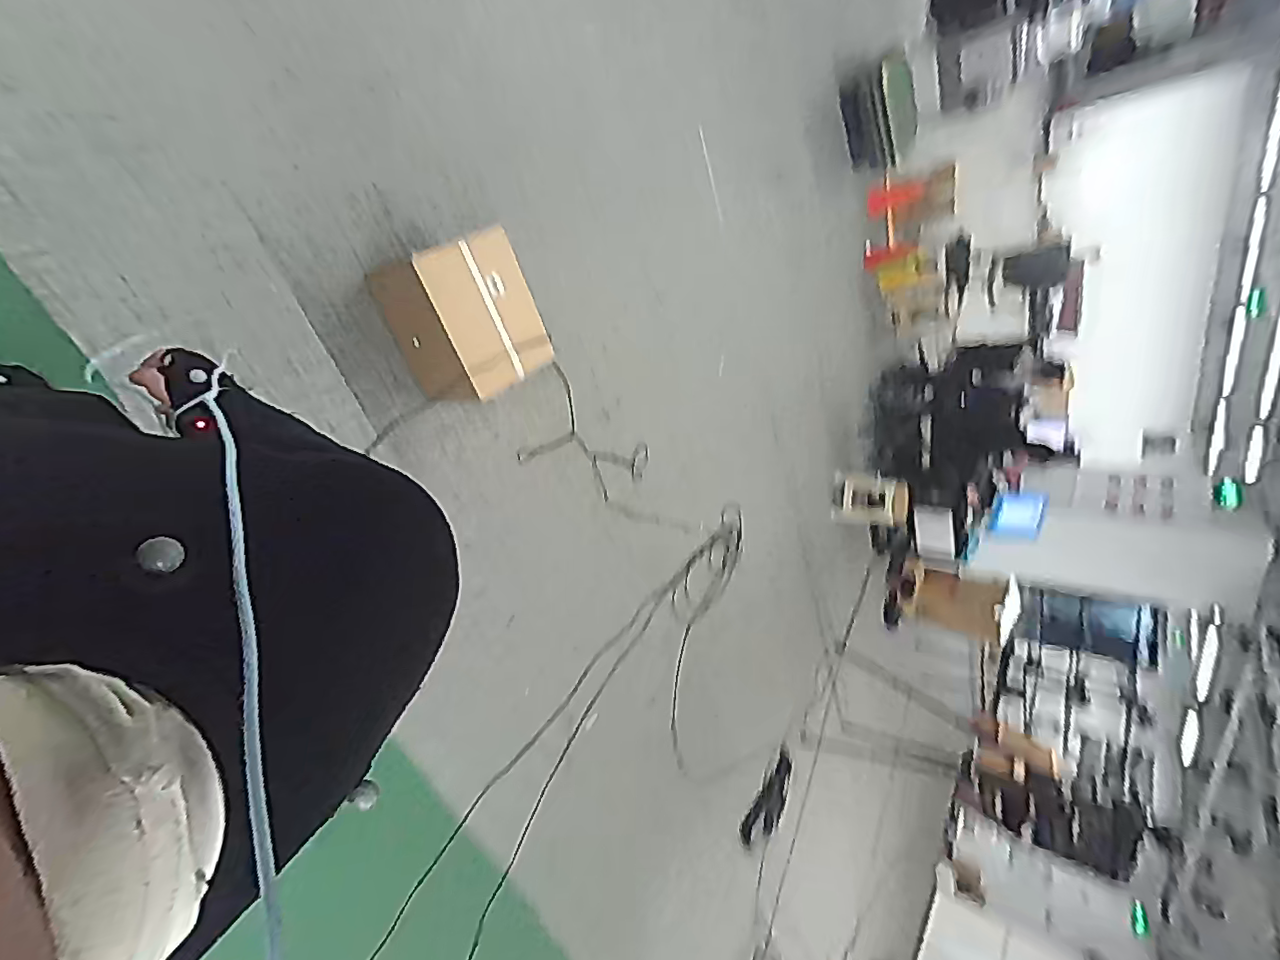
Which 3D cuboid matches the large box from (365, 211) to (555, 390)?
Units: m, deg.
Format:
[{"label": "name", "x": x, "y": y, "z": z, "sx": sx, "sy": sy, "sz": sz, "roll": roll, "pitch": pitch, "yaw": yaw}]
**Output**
[{"label": "large box", "x": -0.533, "y": -0.520, "z": 1.625, "sx": 0.320, "sy": 0.320, "sz": 0.408, "roll": -44, "pitch": 124, "yaw": -35}]
